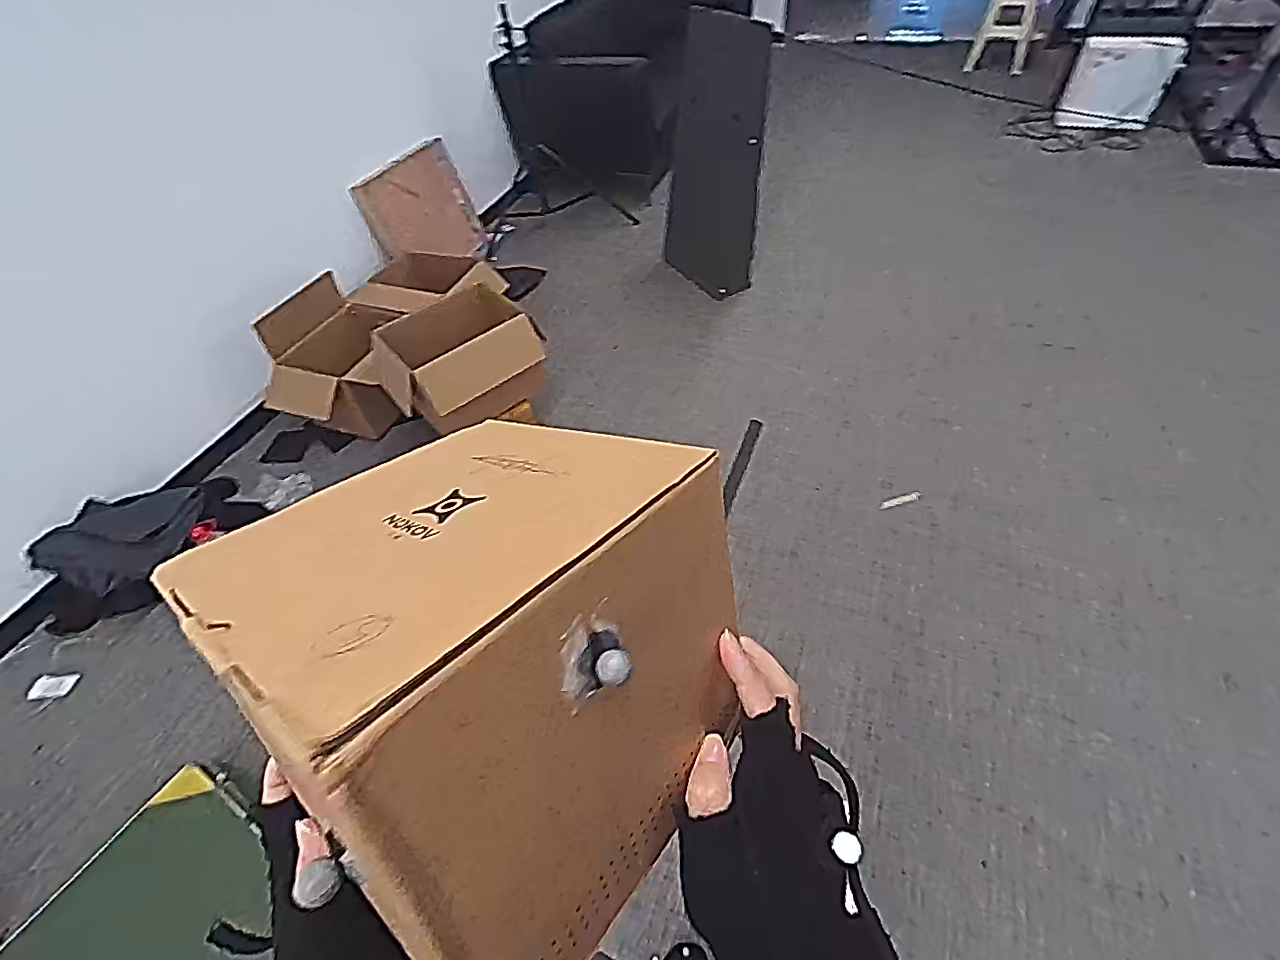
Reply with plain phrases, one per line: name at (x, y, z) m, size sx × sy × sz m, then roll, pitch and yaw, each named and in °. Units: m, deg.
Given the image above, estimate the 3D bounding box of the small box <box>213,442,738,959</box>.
small box at (-0.061, 0.096, 0.277) m, size 0.168 × 0.176 × 0.179 m, roll 11°, pitch 32°, yaw 39°
